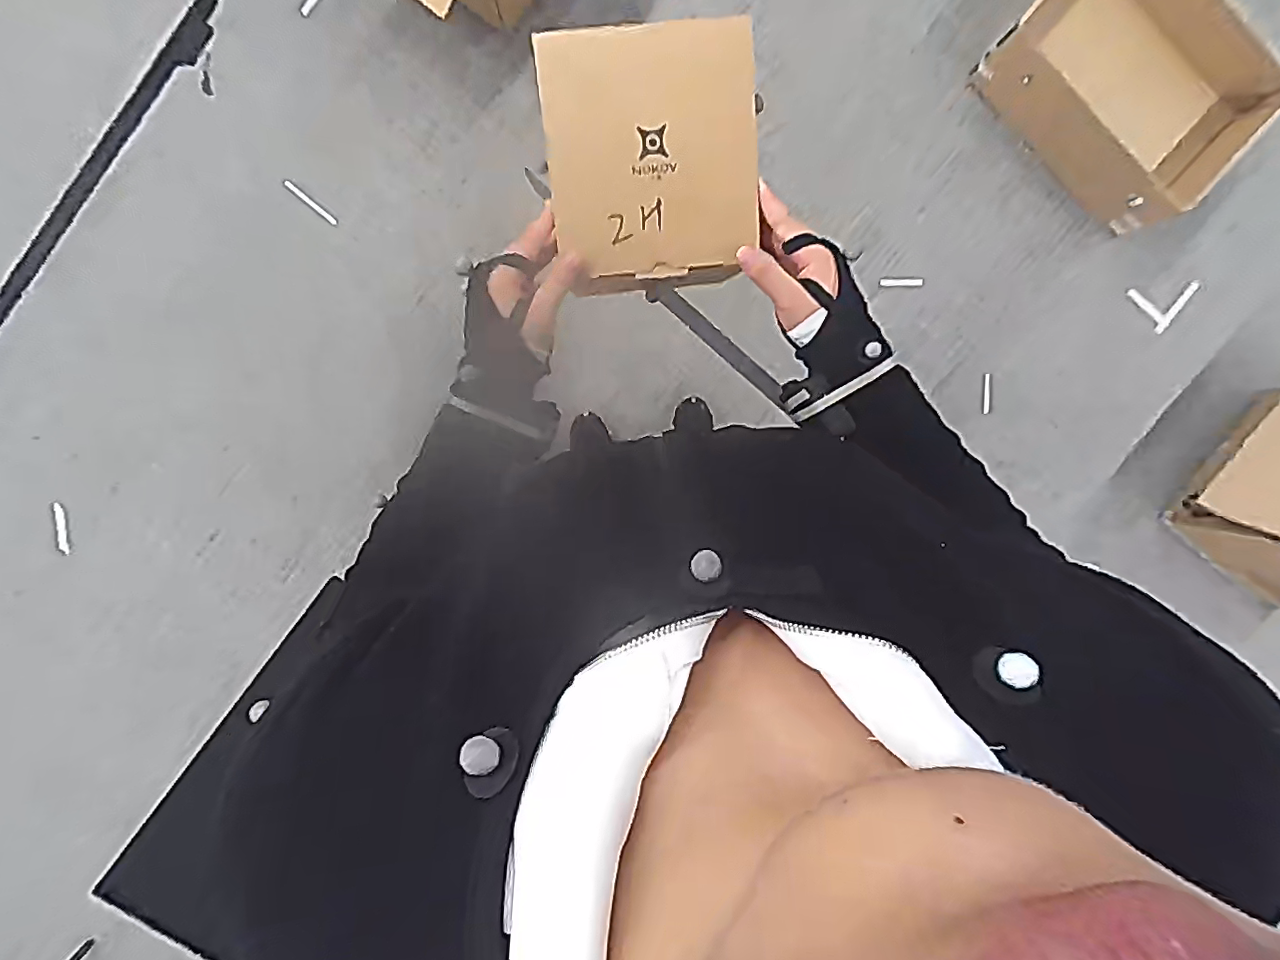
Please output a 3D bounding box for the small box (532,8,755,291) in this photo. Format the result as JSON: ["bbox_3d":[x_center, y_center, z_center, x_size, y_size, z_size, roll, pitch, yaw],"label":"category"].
[{"bbox_3d":[0.003,-0.280,0.498,0.168,0.176,0.179,-6,105,-1],"label":"small box"}]
